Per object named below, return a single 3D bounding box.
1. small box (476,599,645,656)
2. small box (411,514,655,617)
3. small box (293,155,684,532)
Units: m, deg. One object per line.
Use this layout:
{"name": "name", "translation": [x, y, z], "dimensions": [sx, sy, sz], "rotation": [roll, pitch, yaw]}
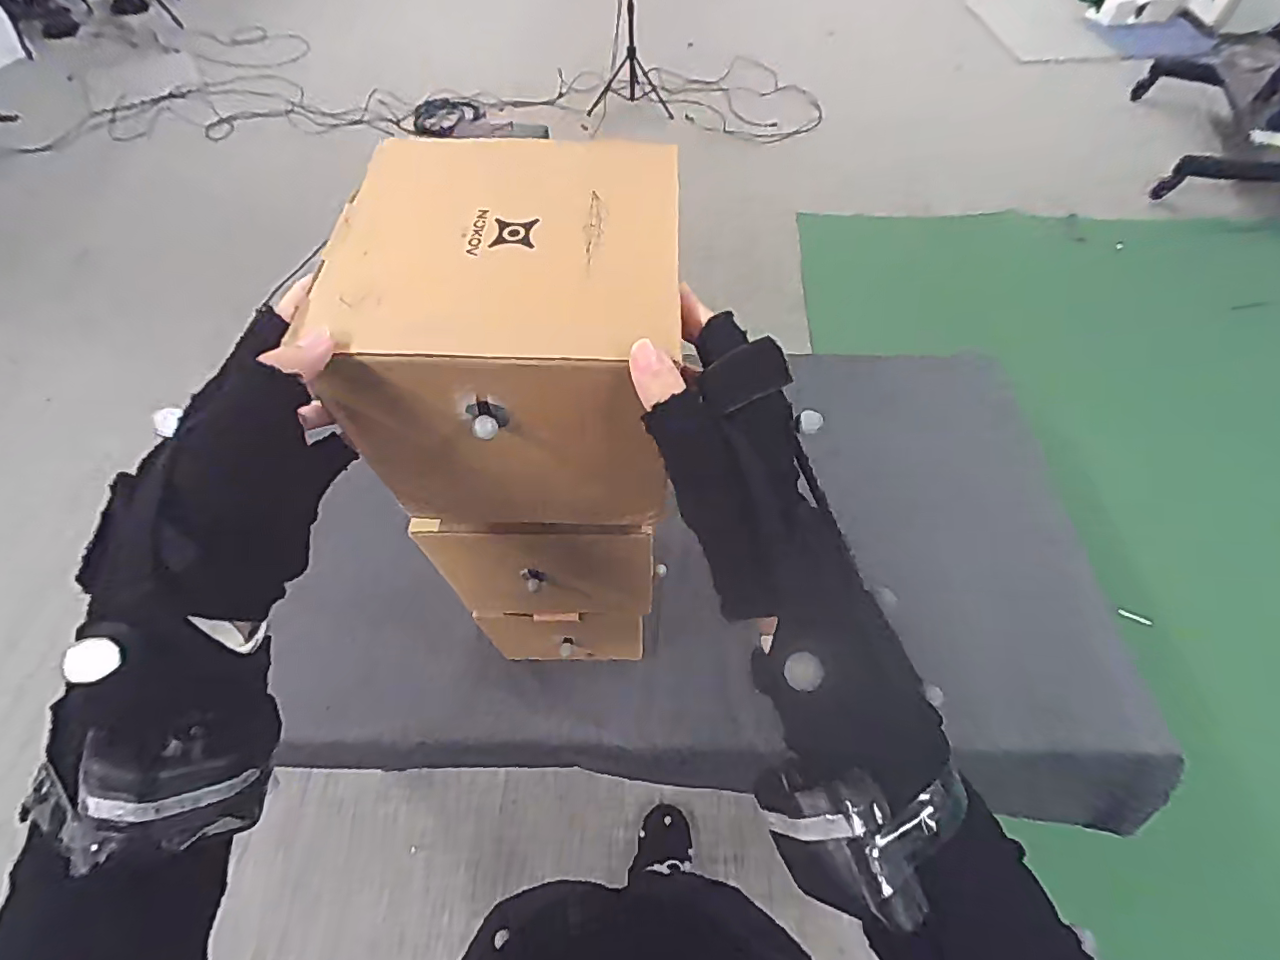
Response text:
{"name": "small box", "translation": [-0.078, 0.103, 0.636], "dimensions": [0.168, 0.176, 0.179], "rotation": [-1, 59, 0]}
{"name": "small box", "translation": [-0.075, 0.019, 0.494], "dimensions": [0.179, 0.176, 0.168], "rotation": [0, 58, 2]}
{"name": "small box", "translation": [-0.066, -0.074, 0.344], "dimensions": [0.179, 0.176, 0.168], "rotation": [2, 61, -1]}
